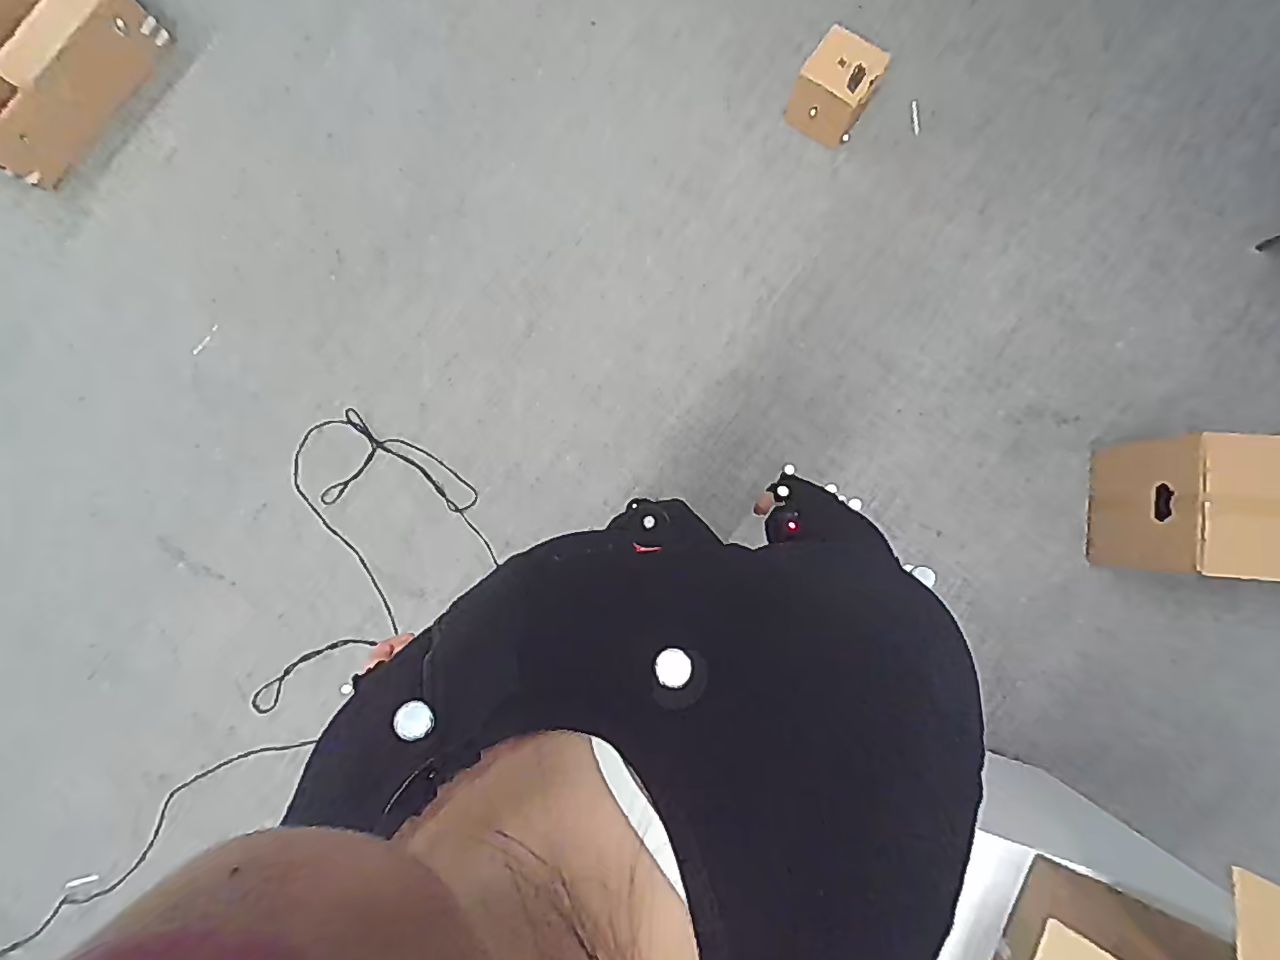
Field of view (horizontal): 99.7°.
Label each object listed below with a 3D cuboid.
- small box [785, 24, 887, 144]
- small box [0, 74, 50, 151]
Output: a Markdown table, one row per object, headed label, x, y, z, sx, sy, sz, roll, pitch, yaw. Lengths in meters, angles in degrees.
| label | x | y | z | sx | sy | sz | roll | pitch | yaw |
| --- | --- | --- | --- | --- | --- | --- | --- | --- | --- |
| small box | 0.524 | -1.062 | 1.472 | 0.179 | 0.176 | 0.168 | 37 | 89 | 4 |
| small box | -1.817 | -1.056 | 1.485 | 0.179 | 0.176 | 0.168 | 34 | 89 | 2 |
